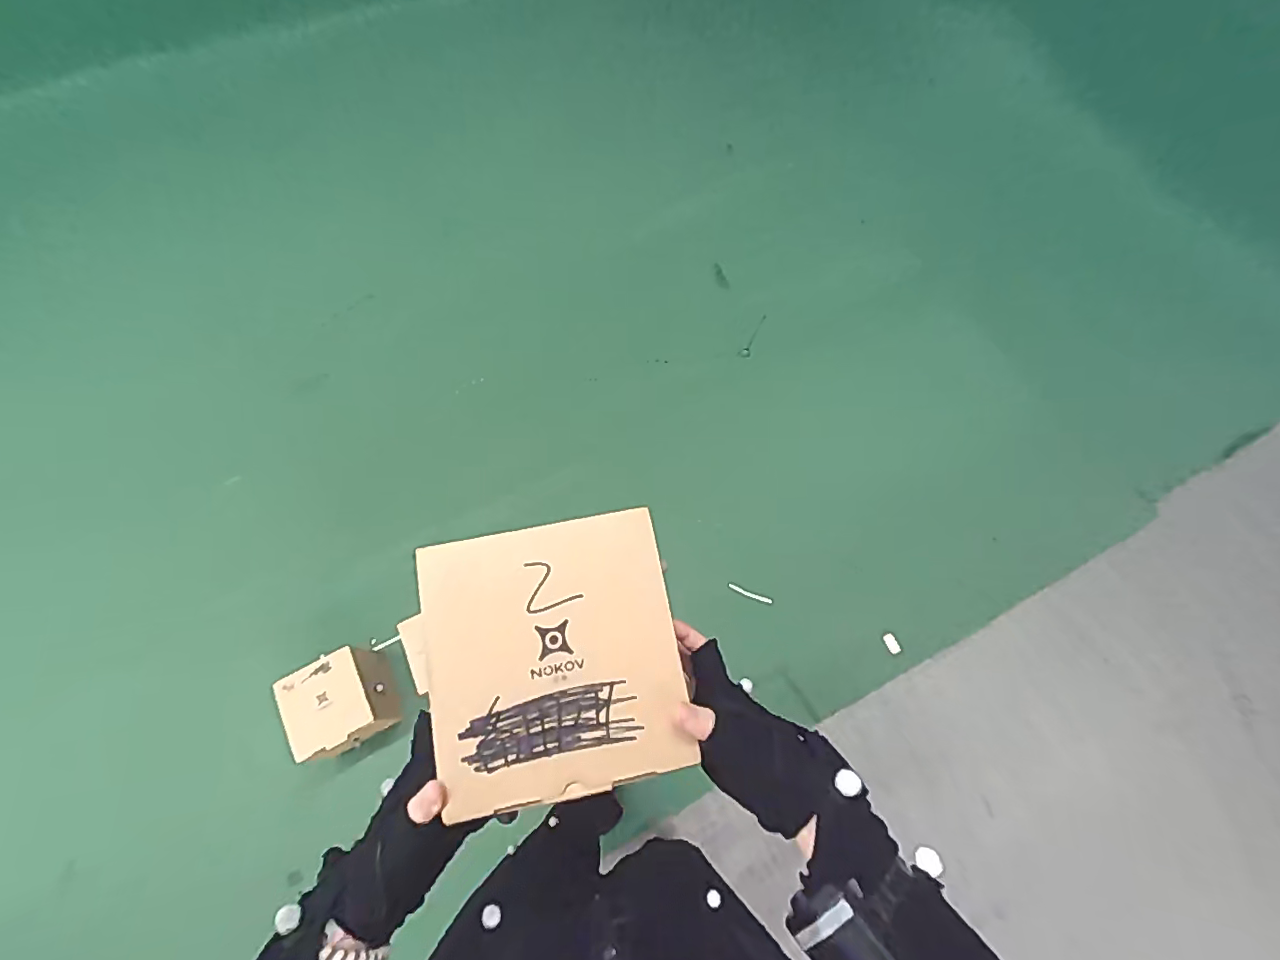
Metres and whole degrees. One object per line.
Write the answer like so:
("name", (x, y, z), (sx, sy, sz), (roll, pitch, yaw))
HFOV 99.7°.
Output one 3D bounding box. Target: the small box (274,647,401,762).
("small box", (-0.661, 0.489, 1.200), (0.168, 0.176, 0.179), (-26, 73, -12))
